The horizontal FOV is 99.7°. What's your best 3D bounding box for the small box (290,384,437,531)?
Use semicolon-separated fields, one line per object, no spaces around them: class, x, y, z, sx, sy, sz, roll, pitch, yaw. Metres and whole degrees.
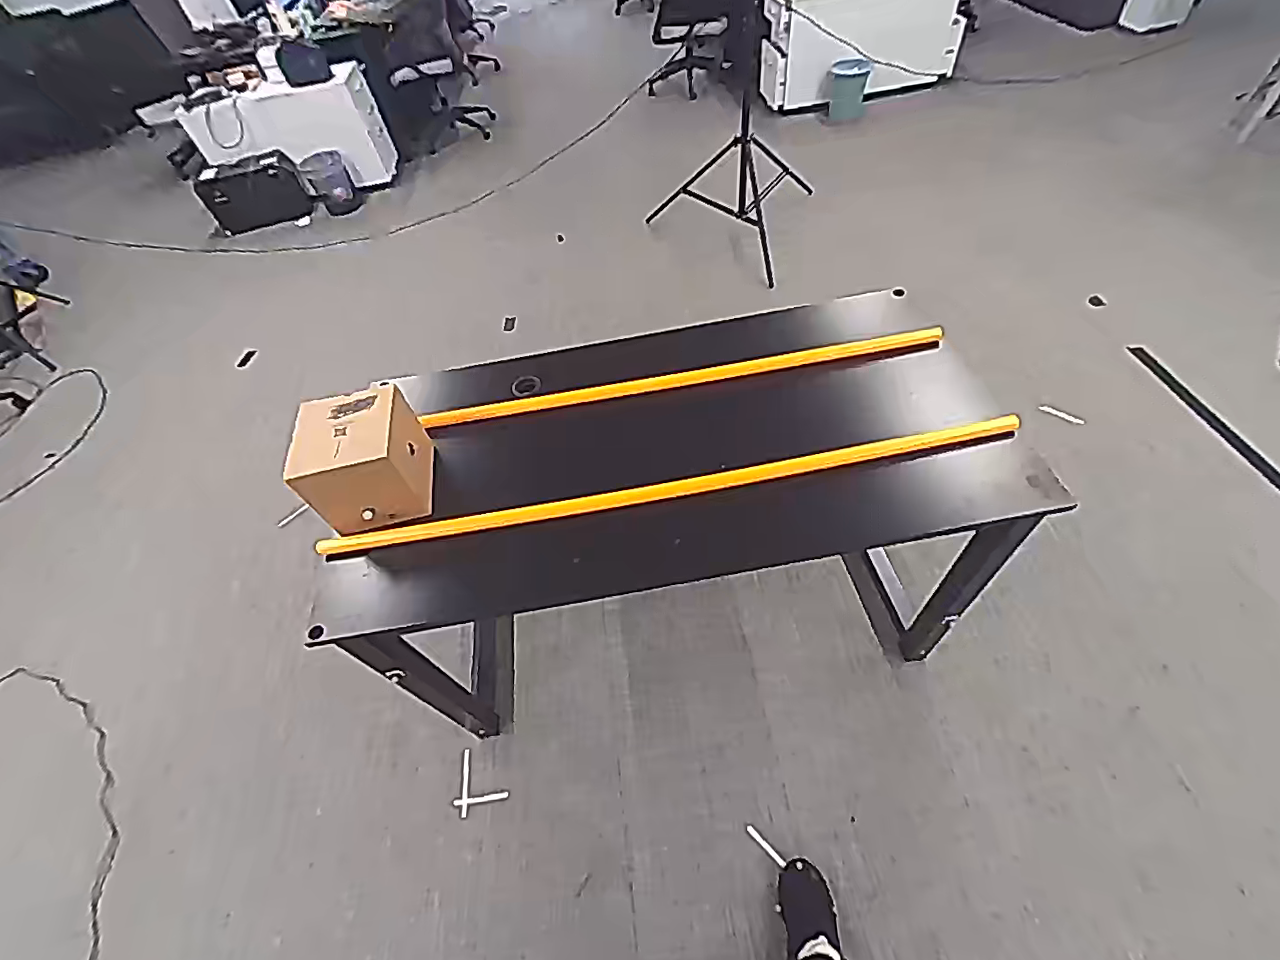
small box;-0.472;-0.037;0.955;0.168;0.176;0.179;-14;53;-2
